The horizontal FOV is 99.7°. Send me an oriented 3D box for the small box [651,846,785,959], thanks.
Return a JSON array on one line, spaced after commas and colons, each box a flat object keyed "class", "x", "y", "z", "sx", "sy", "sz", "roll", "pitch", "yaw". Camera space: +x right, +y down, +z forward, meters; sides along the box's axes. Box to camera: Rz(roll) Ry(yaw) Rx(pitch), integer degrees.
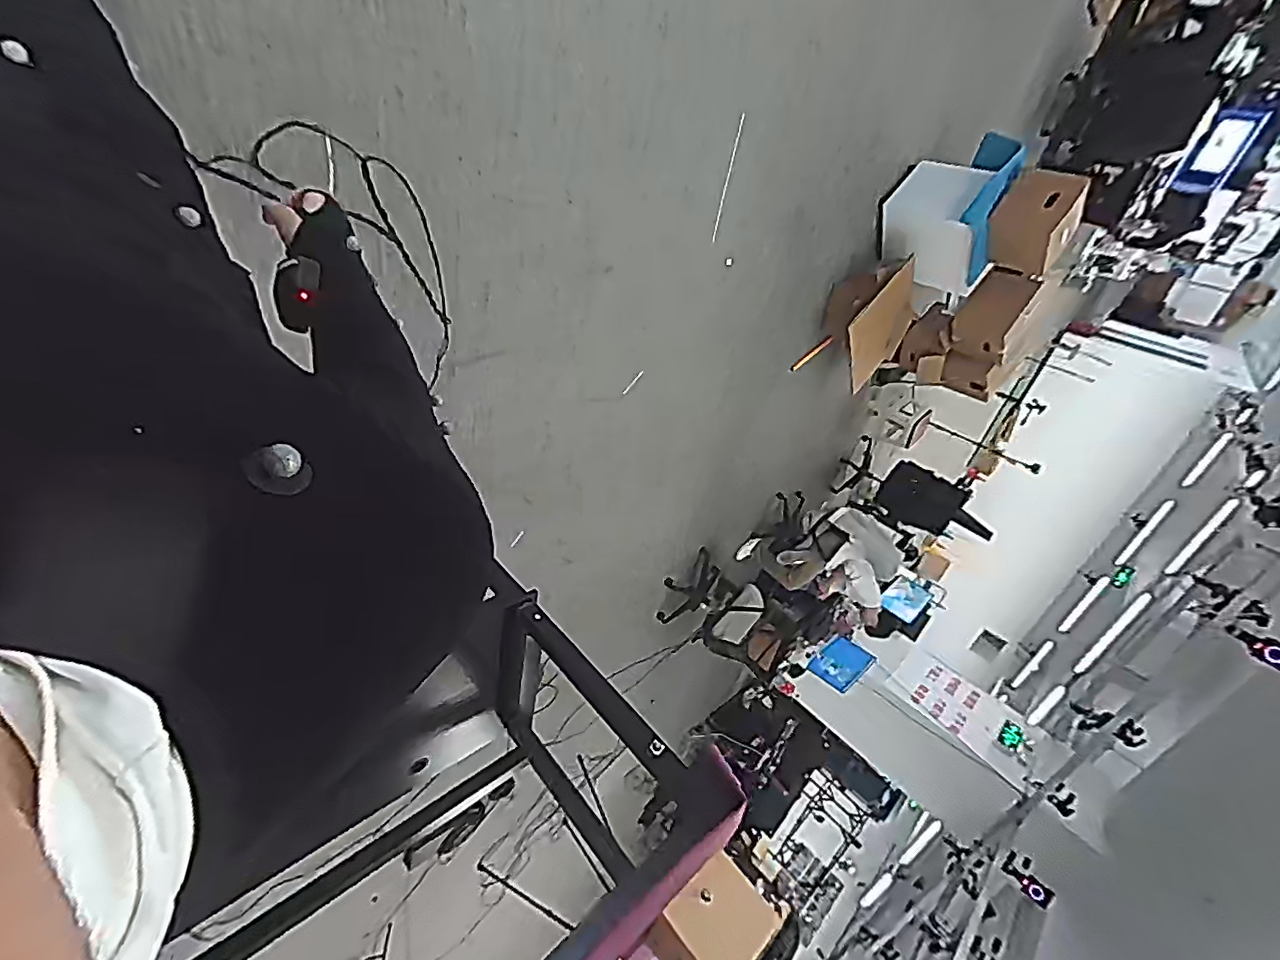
[{"class": "small box", "x": 0.144, "y": 0.869, "z": 1.046, "sx": 0.179, "sy": 0.176, "sz": 0.168, "roll": -21, "pitch": 135, "yaw": -39}]
